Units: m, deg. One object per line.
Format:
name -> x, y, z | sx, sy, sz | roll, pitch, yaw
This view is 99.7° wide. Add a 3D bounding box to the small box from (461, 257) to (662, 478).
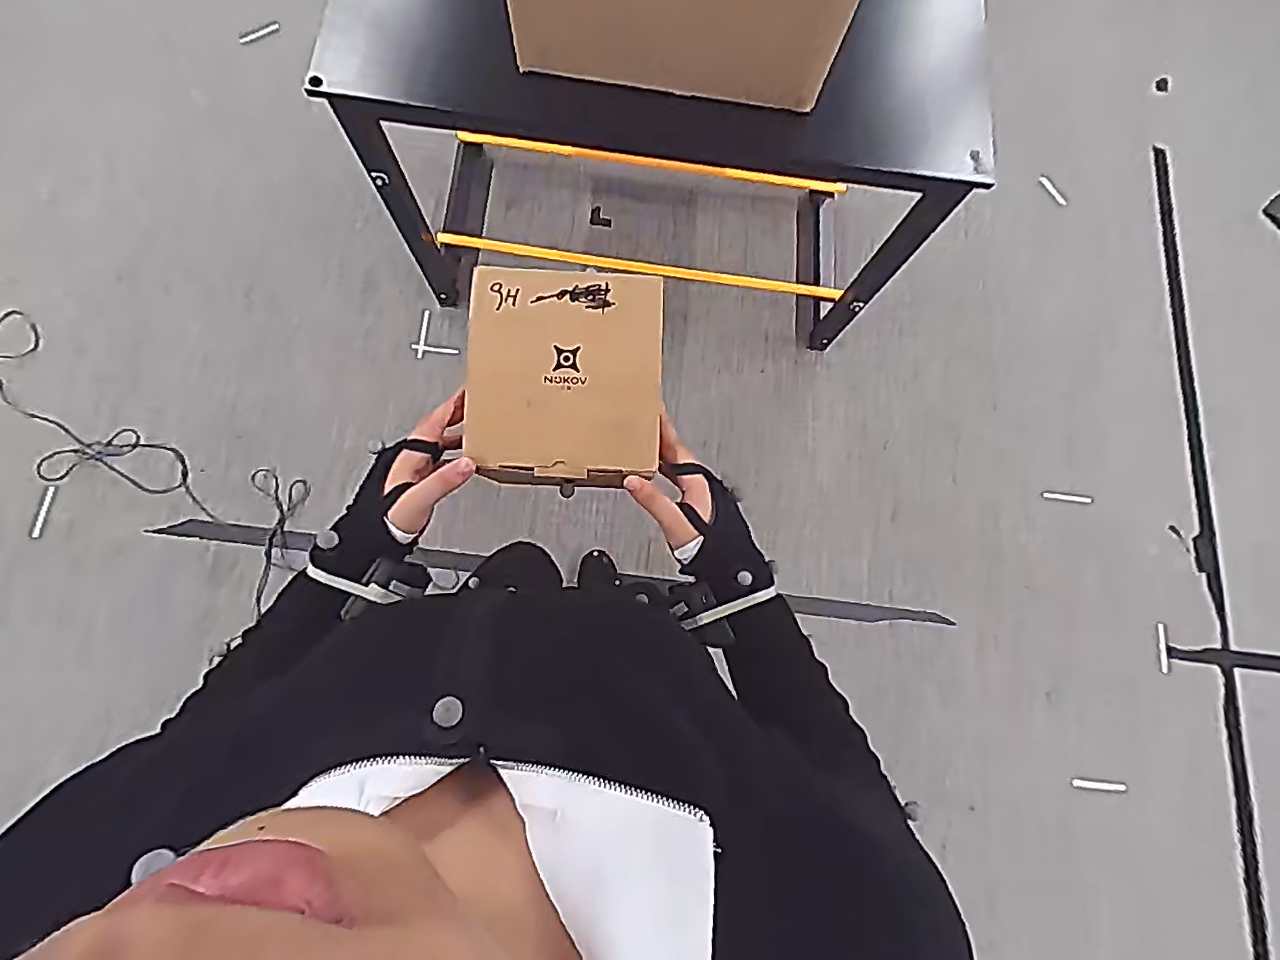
small box -> -0.069, -0.095, 0.538 | 0.168, 0.176, 0.179 | 2, 85, -3
